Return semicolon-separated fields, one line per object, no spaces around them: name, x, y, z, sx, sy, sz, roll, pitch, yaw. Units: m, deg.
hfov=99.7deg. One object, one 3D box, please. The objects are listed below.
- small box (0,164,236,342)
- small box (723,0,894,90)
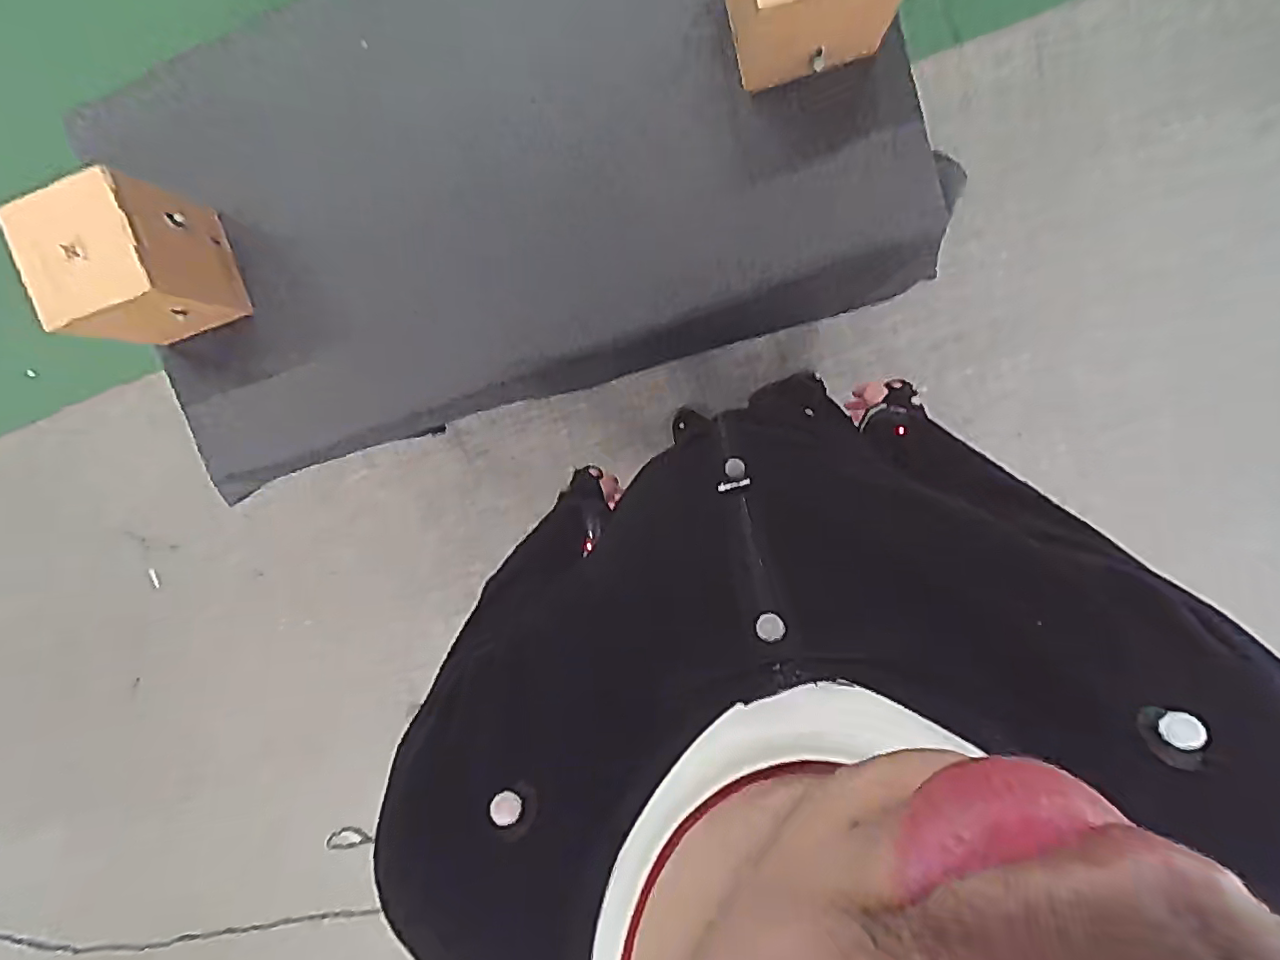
small box;-0.724;-0.307;0.770;0.179;0.176;0.168;-14;95;8
small box;0.197;-0.613;0.641;0.179;0.176;0.168;-13;98;8
